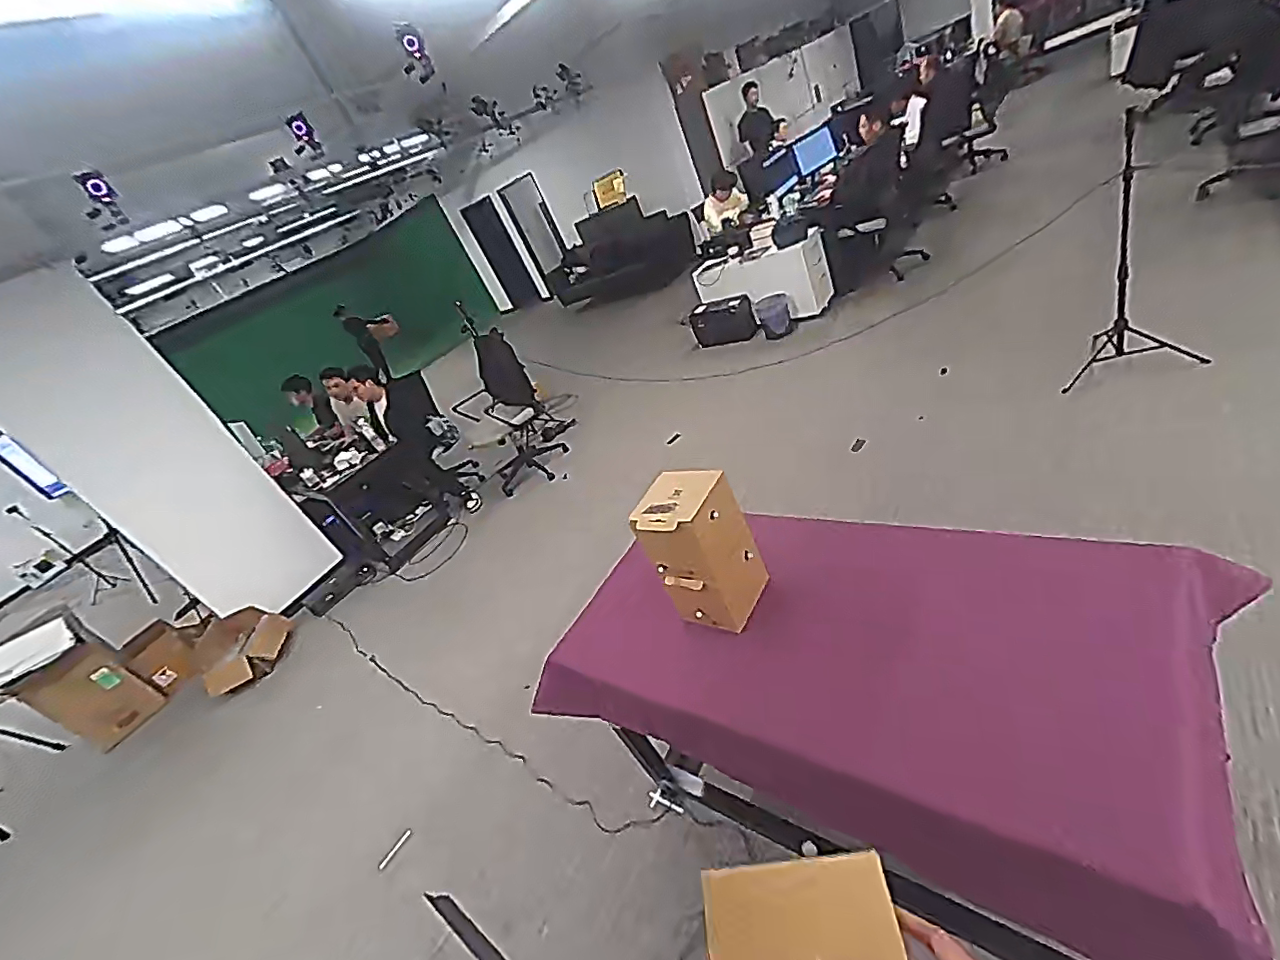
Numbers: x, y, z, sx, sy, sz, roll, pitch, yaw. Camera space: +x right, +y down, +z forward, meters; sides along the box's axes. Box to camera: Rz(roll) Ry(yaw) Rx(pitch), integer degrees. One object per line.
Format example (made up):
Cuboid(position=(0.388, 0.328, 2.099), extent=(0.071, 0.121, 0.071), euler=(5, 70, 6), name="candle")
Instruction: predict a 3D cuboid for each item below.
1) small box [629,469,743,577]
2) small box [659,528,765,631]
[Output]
Cuboid(position=(0.111, 0.096, 1.202), extent=(0.168, 0.176, 0.179), euler=(-1, 38, 38), name="small box")
Cuboid(position=(0.178, 0.224, 1.280), extent=(0.168, 0.176, 0.179), euler=(1, 40, 42), name="small box")
